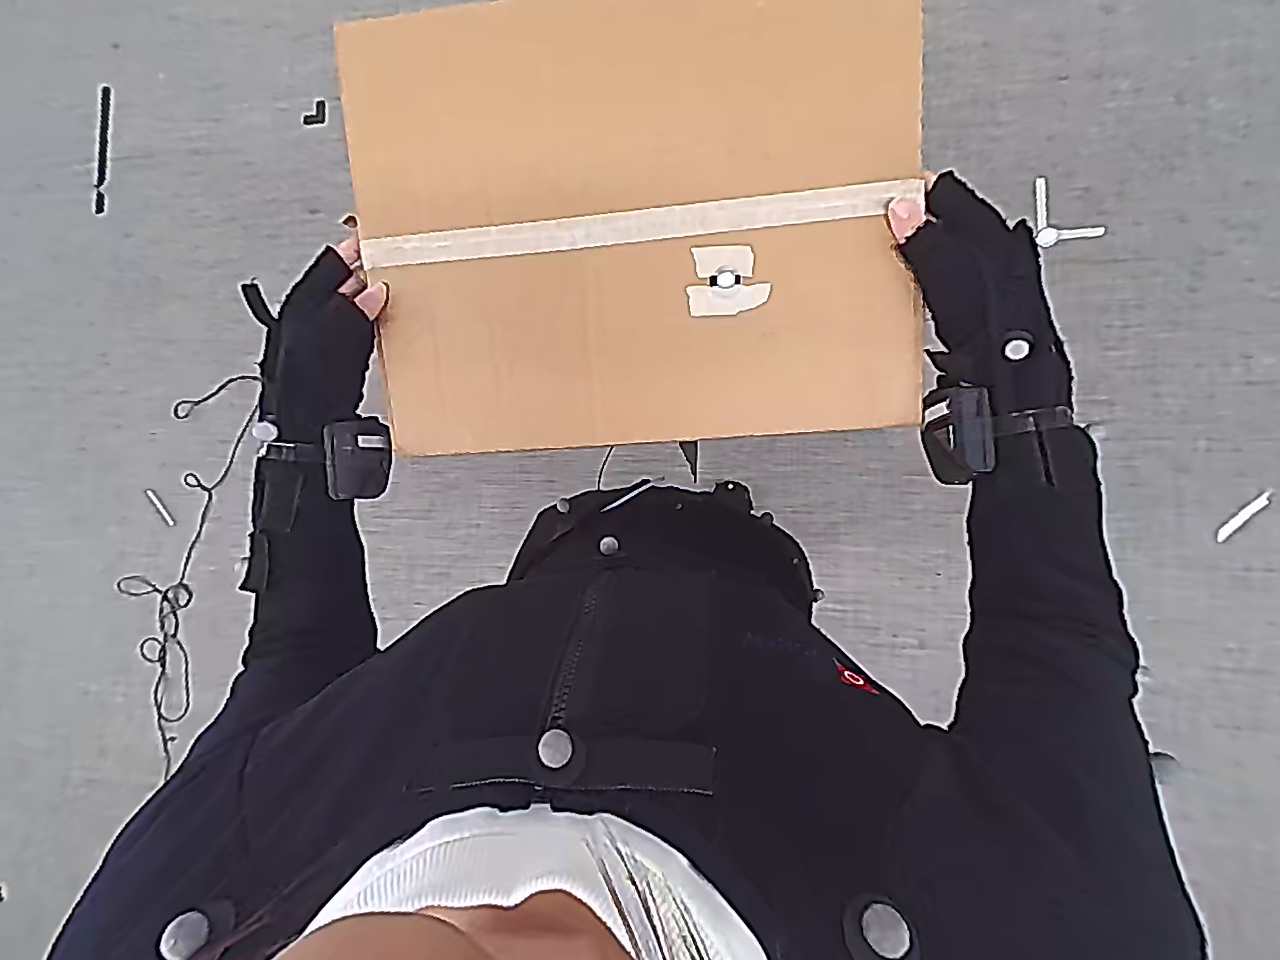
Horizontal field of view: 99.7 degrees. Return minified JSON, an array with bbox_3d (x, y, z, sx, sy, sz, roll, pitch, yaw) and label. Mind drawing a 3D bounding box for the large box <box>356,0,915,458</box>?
[{"bbox_3d":[0.007,-0.207,0.551,0.408,0.320,0.320,-4,99,5],"label":"large box"}]
